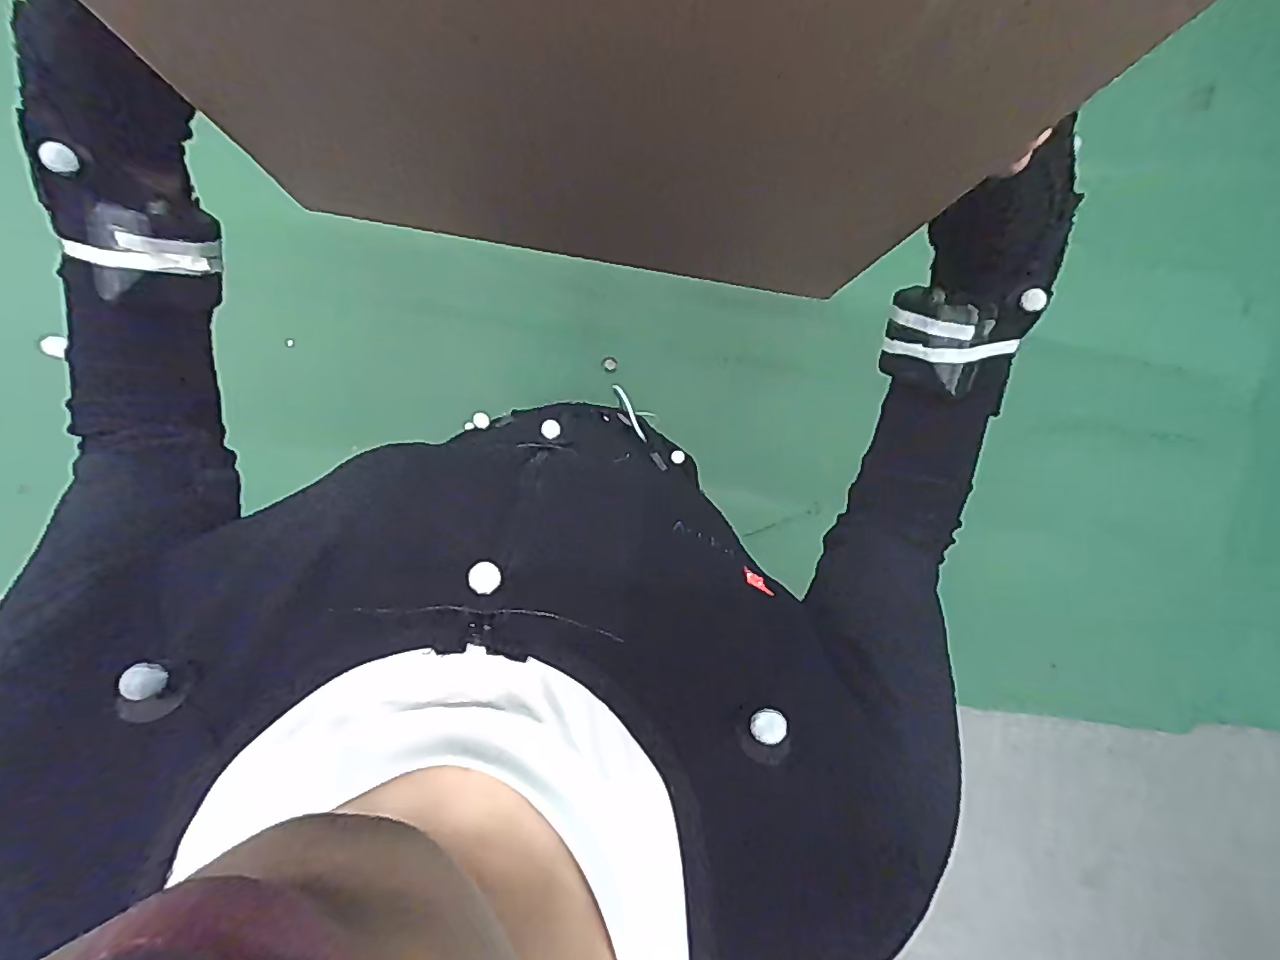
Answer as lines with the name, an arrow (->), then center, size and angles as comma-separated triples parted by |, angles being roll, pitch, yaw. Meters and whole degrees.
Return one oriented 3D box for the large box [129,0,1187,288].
large box -> -0.008, -0.325, 0.267 | 0.408, 0.320, 0.320 | 8, 90, -6
